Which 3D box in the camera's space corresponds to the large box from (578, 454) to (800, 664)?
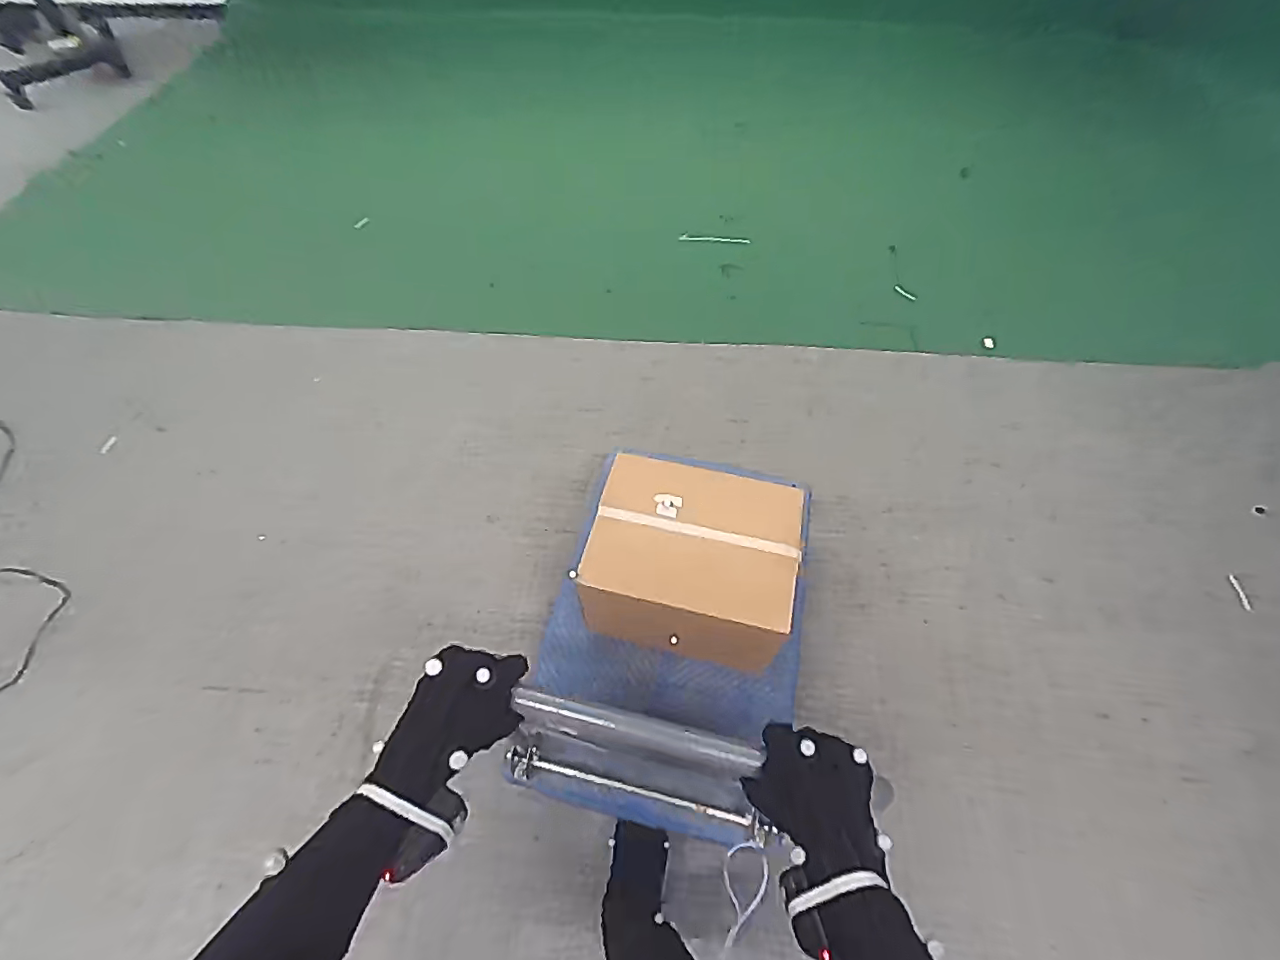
[{"bbox_3d":[0.112,0.182,1.203,0.408,0.320,0.320,12,58,9],"label":"large box"}]
